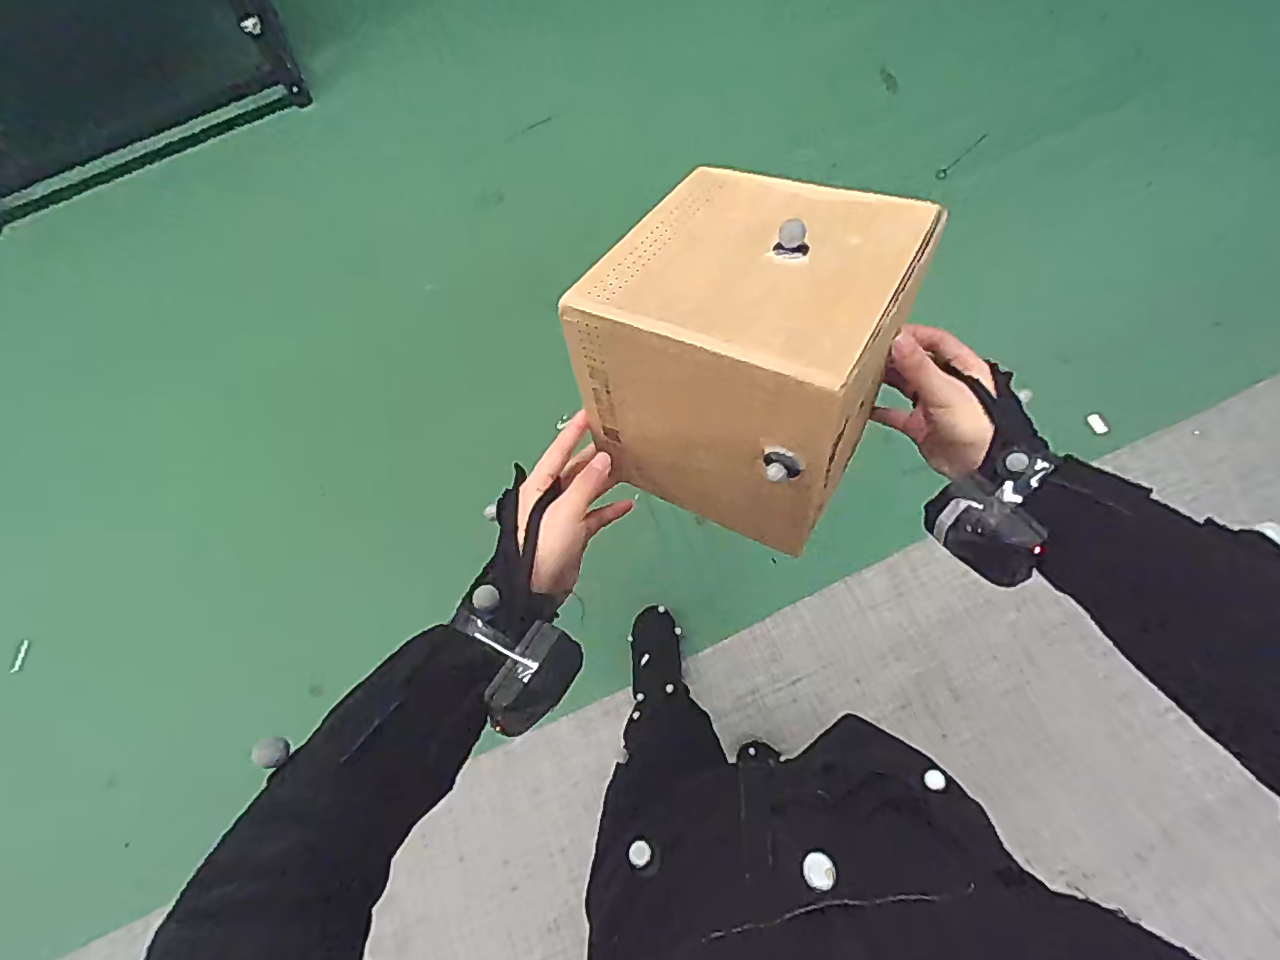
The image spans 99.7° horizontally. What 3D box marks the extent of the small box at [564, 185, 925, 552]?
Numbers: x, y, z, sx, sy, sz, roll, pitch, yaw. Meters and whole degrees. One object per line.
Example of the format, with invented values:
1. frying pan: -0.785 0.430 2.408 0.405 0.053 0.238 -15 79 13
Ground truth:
1. small box: 0.071 -0.086 0.391 0.176 0.168 0.179 24 60 23
